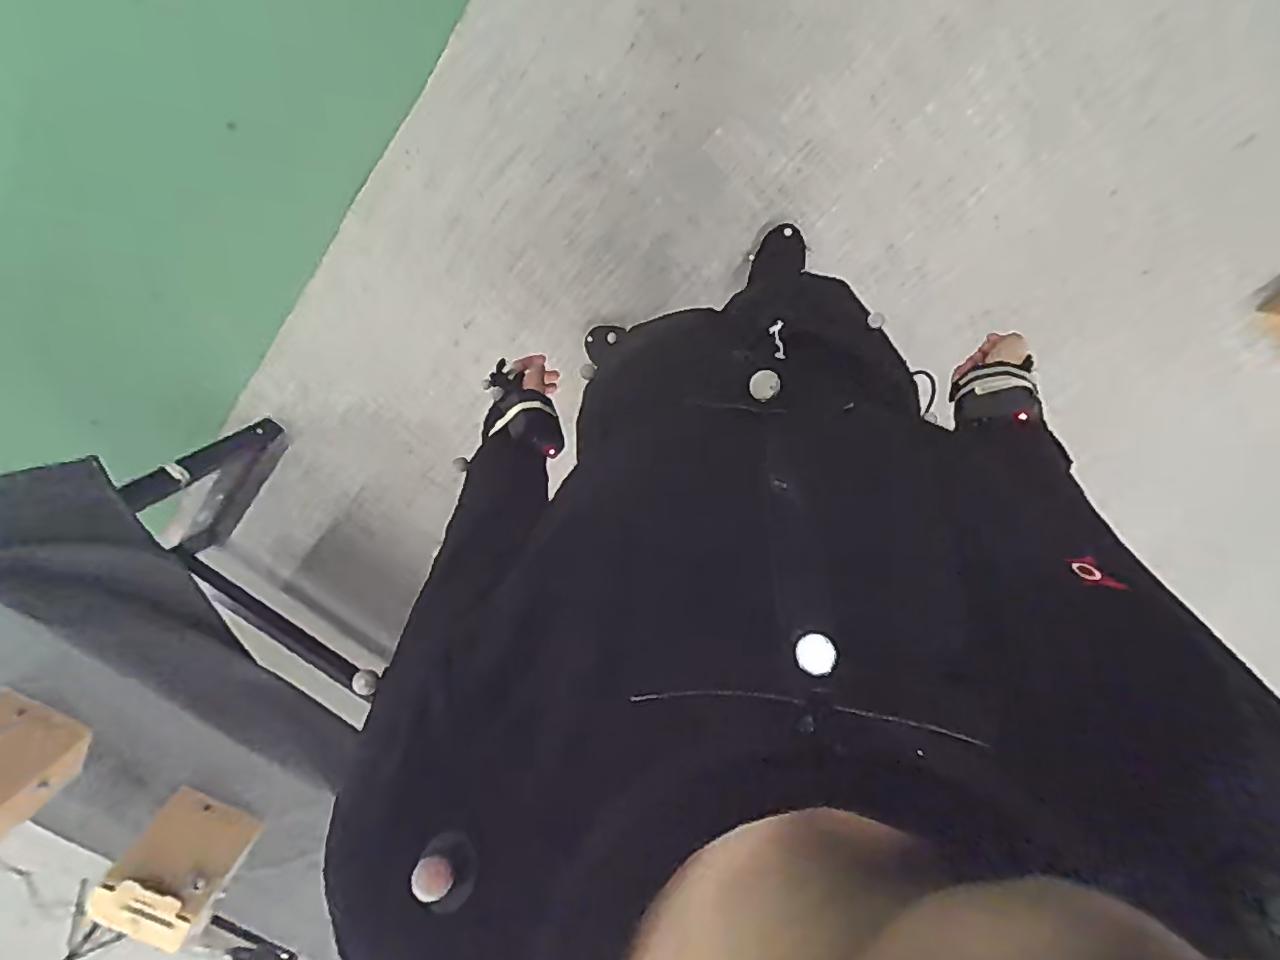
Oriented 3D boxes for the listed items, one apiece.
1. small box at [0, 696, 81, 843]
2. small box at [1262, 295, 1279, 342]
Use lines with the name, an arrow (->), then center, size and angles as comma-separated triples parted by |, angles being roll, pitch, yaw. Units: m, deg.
small box -> -1.108, 0.501, 0.908 | 0.168, 0.176, 0.179 | 35, 116, -9
small box -> 1.389, -0.323, 1.032 | 0.168, 0.176, 0.179 | 40, 114, -13
